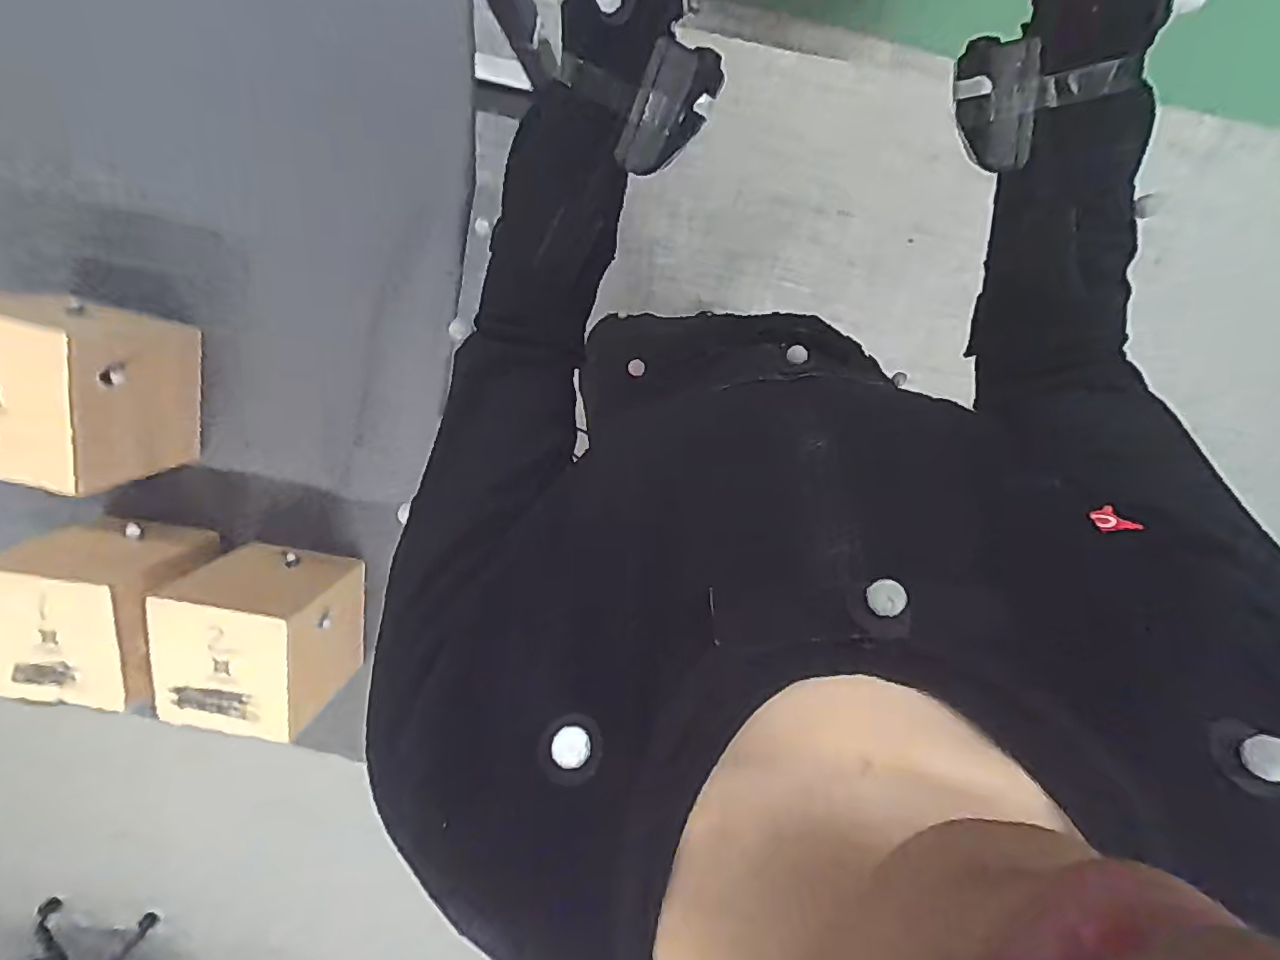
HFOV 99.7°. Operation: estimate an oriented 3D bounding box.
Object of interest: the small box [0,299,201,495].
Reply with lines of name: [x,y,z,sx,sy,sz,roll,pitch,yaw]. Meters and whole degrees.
small box: [-0.655,-0.105,0.627,0.168,0.176,0.179,14,107,-3]
